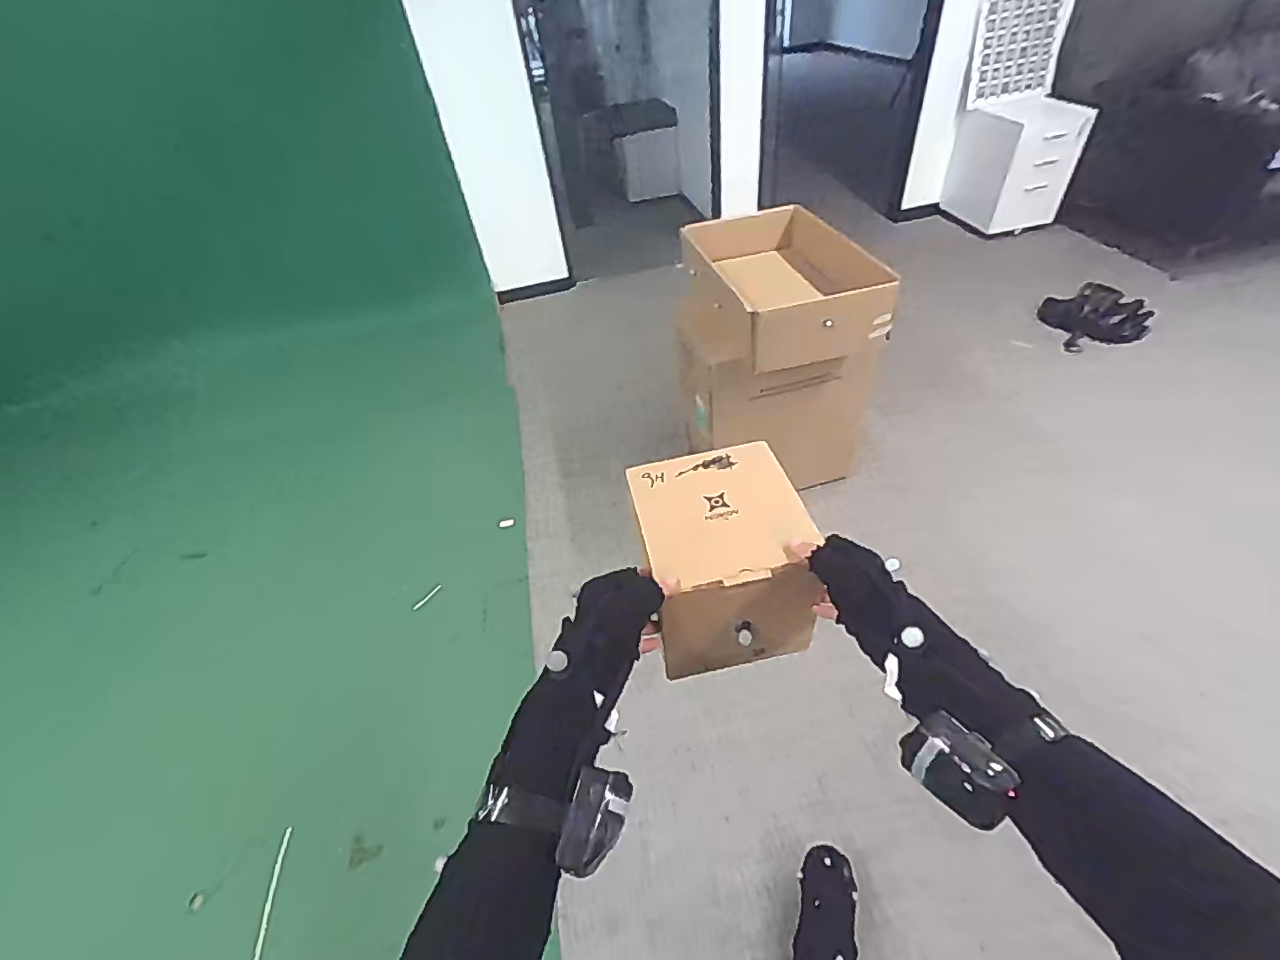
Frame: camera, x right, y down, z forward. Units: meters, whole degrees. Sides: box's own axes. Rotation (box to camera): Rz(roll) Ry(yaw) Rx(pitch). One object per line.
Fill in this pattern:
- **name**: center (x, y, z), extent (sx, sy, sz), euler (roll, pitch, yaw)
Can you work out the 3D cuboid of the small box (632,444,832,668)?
- **small box**: center (0.091, 0.089, 0.603), extent (0.168, 0.176, 0.179), euler (-10, 43, -5)
